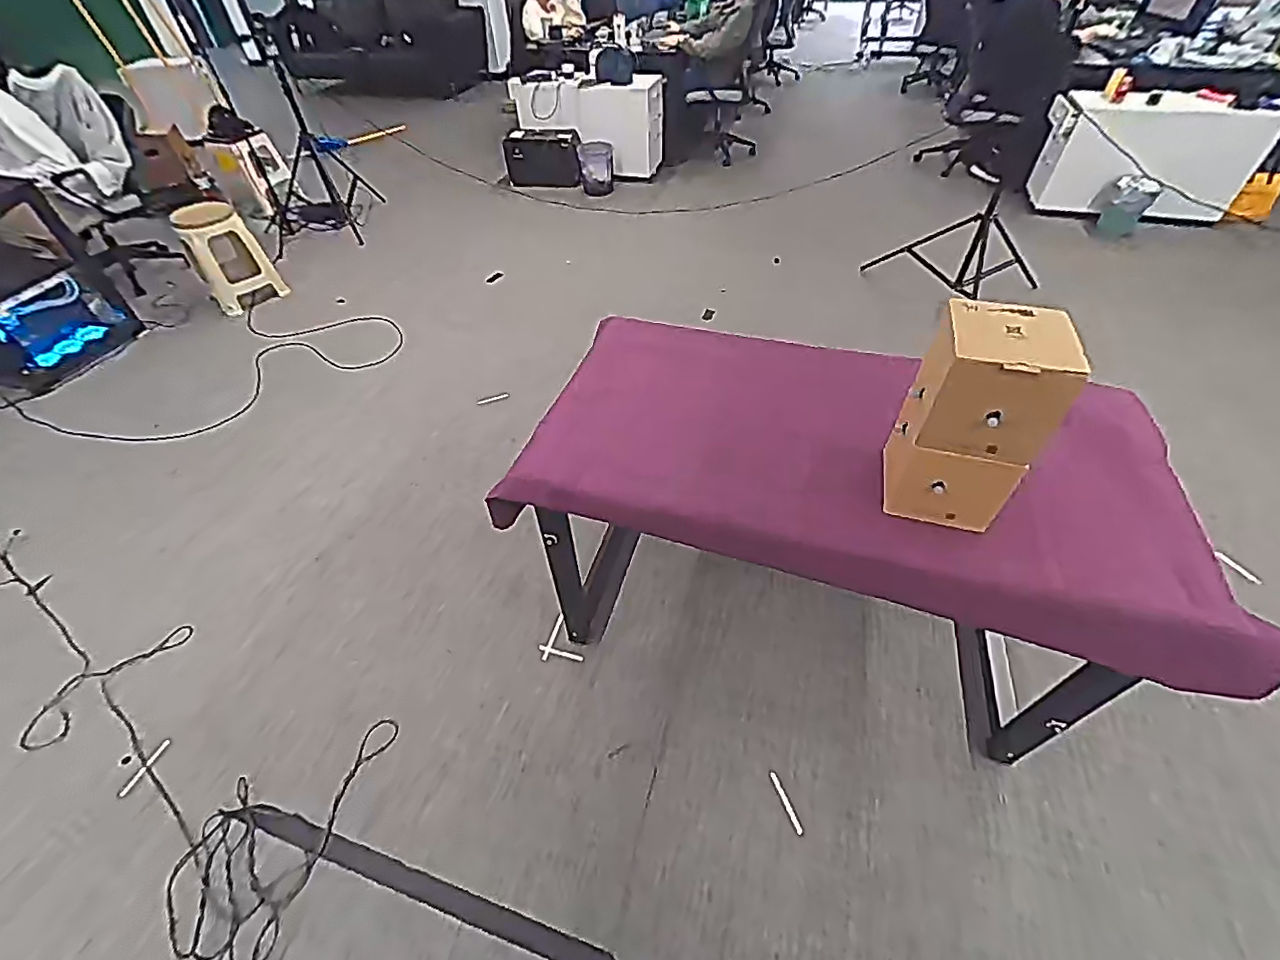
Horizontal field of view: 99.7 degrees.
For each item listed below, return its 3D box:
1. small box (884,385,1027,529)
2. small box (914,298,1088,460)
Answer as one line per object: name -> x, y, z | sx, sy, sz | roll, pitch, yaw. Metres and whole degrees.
small box -> 0.540, -0.039, 0.951 | 0.168, 0.176, 0.179 | 12, 48, 13
small box -> 0.537, -0.154, 0.834 | 0.168, 0.176, 0.179 | 12, 49, 14
